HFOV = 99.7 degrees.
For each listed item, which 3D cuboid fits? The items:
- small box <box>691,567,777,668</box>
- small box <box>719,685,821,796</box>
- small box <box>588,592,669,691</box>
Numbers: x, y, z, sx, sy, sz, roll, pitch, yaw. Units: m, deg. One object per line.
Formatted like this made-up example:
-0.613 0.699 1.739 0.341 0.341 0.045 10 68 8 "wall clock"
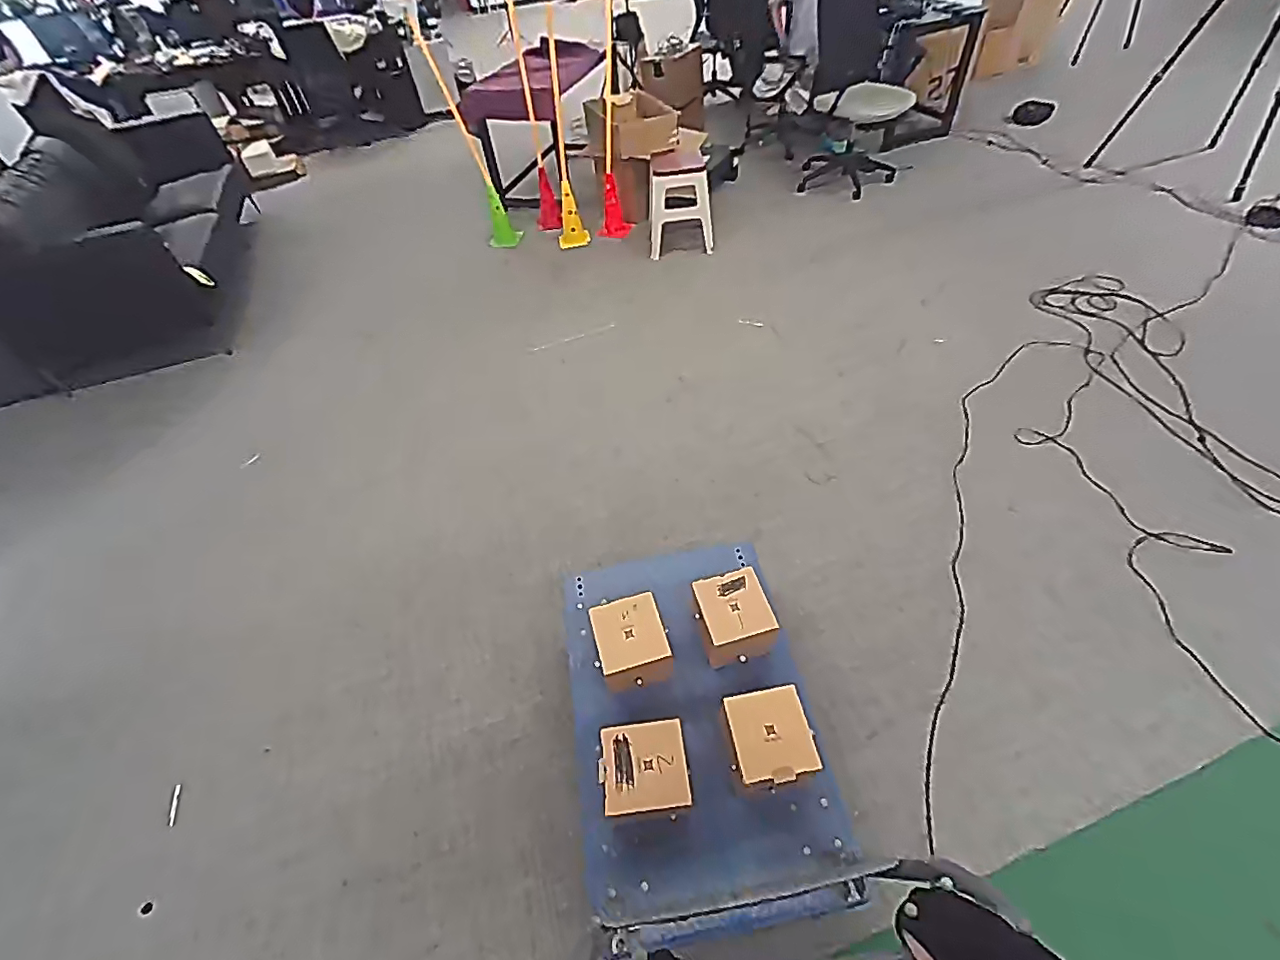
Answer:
0.233 0.356 1.394 0.168 0.176 0.179 -14 53 -7 "small box"
0.280 0.584 1.211 0.168 0.176 0.179 -10 52 -4 "small box"
-0.025 0.415 1.365 0.168 0.176 0.179 -14 52 -8 "small box"
